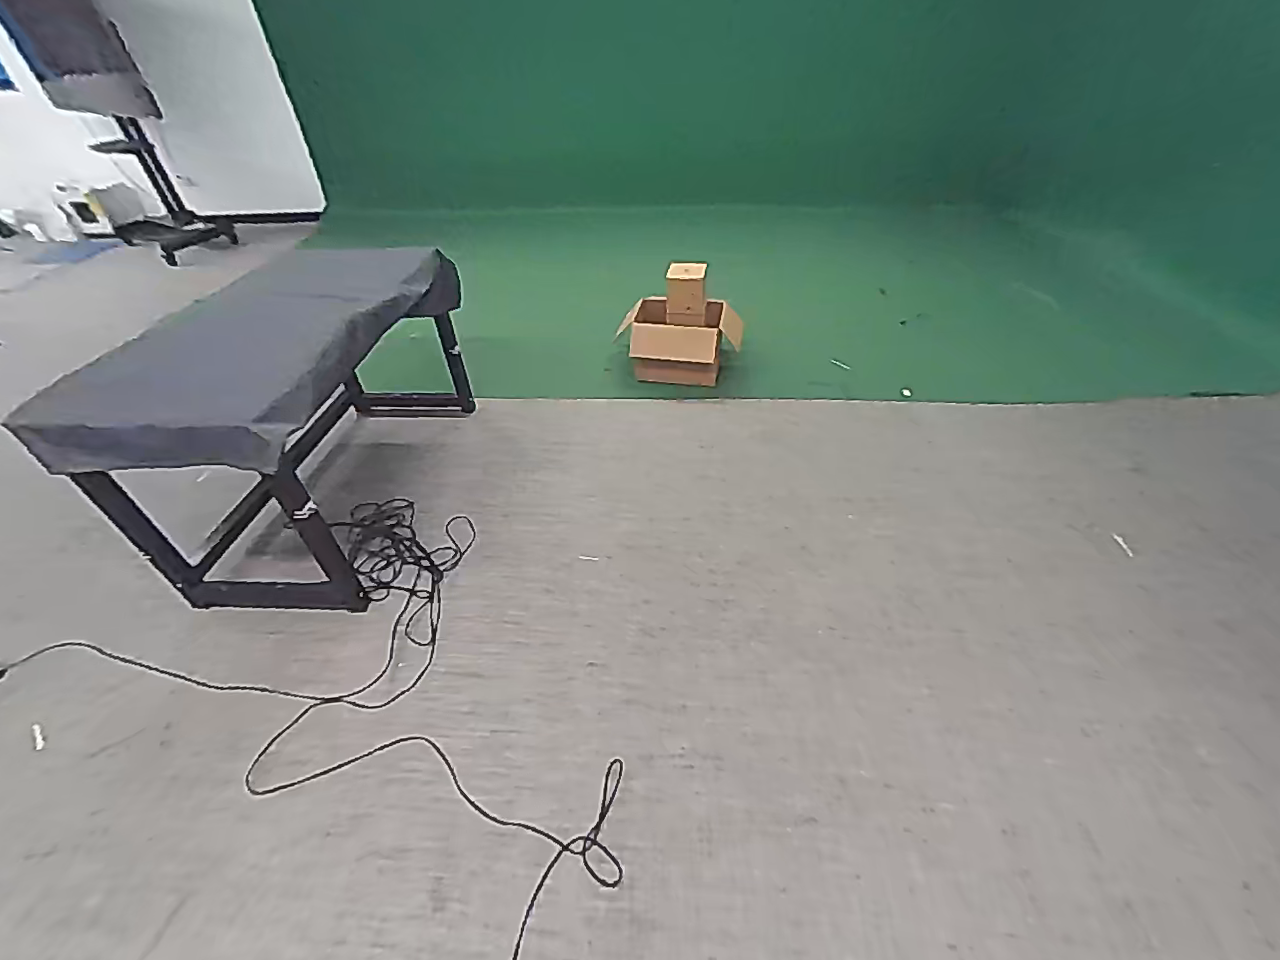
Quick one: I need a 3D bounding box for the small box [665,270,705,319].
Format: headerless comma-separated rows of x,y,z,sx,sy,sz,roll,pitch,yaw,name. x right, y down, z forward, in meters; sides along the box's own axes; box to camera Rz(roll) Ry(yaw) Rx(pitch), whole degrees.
0.208,-0.854,2.484,0.168,0.176,0.179,5,41,9,small box
